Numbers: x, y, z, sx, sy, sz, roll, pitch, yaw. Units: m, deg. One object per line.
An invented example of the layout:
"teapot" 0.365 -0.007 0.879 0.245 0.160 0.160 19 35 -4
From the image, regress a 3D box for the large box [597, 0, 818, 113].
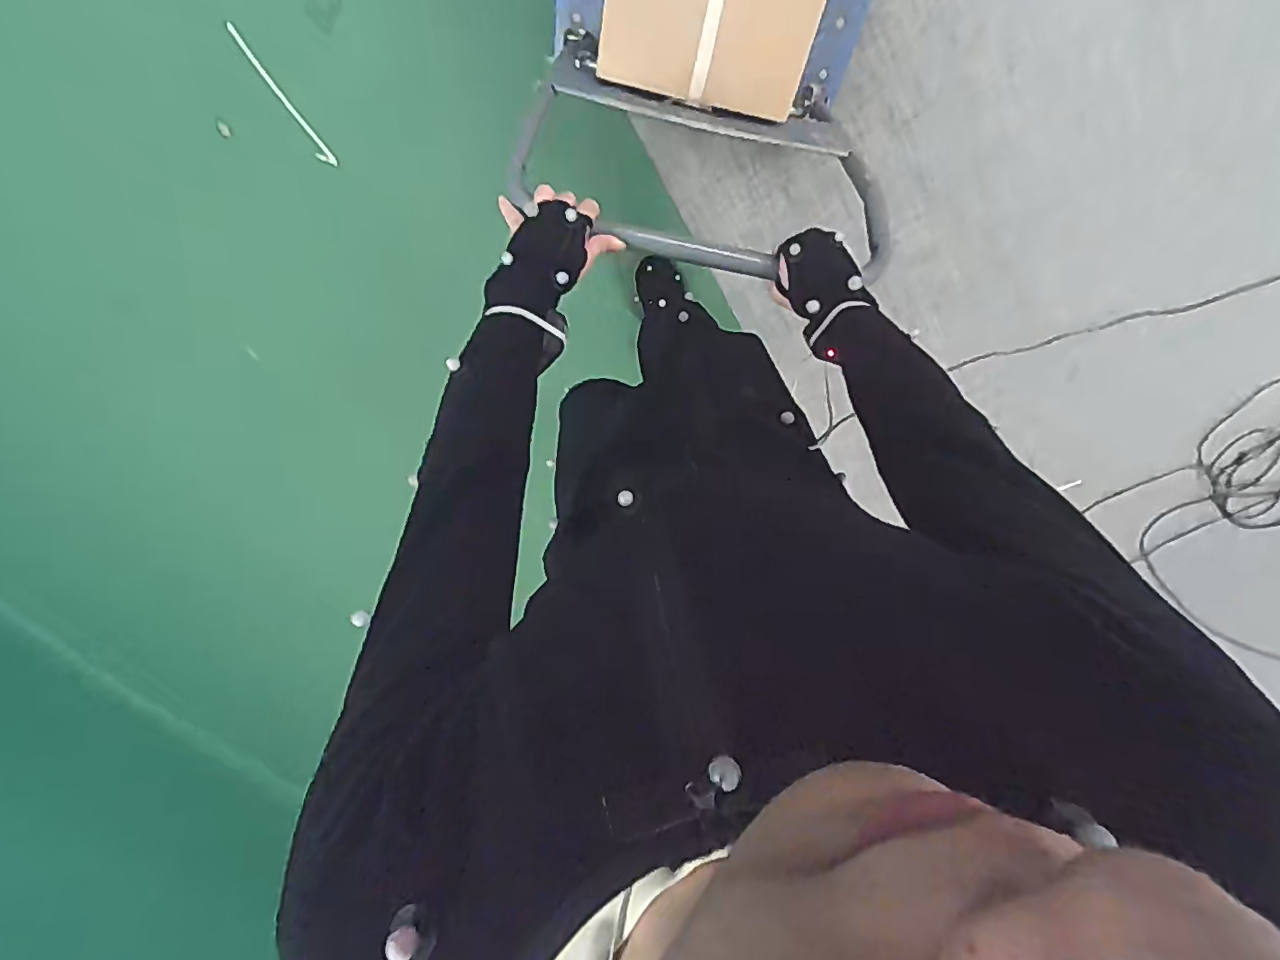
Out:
"large box" 0.126 -0.860 0.842 0.320 0.320 0.408 10 132 -6
